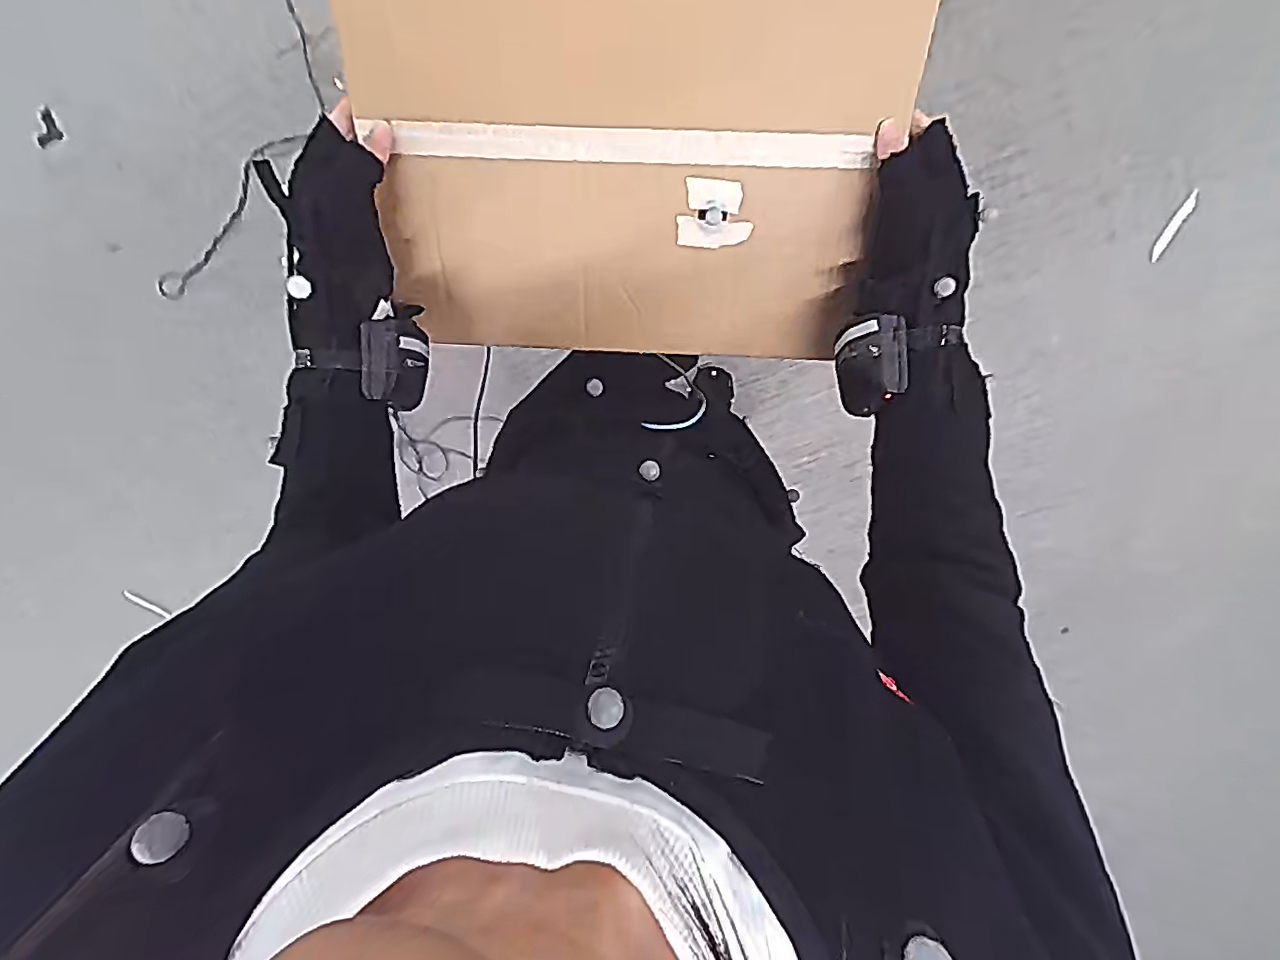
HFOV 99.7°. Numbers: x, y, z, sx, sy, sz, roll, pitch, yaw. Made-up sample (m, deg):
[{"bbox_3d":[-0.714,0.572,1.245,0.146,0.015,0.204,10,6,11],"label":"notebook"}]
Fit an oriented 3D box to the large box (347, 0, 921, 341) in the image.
[{"bbox_3d":[-0.005,-0.332,0.542,0.408,0.320,0.320,1,120,0],"label":"large box"}]
